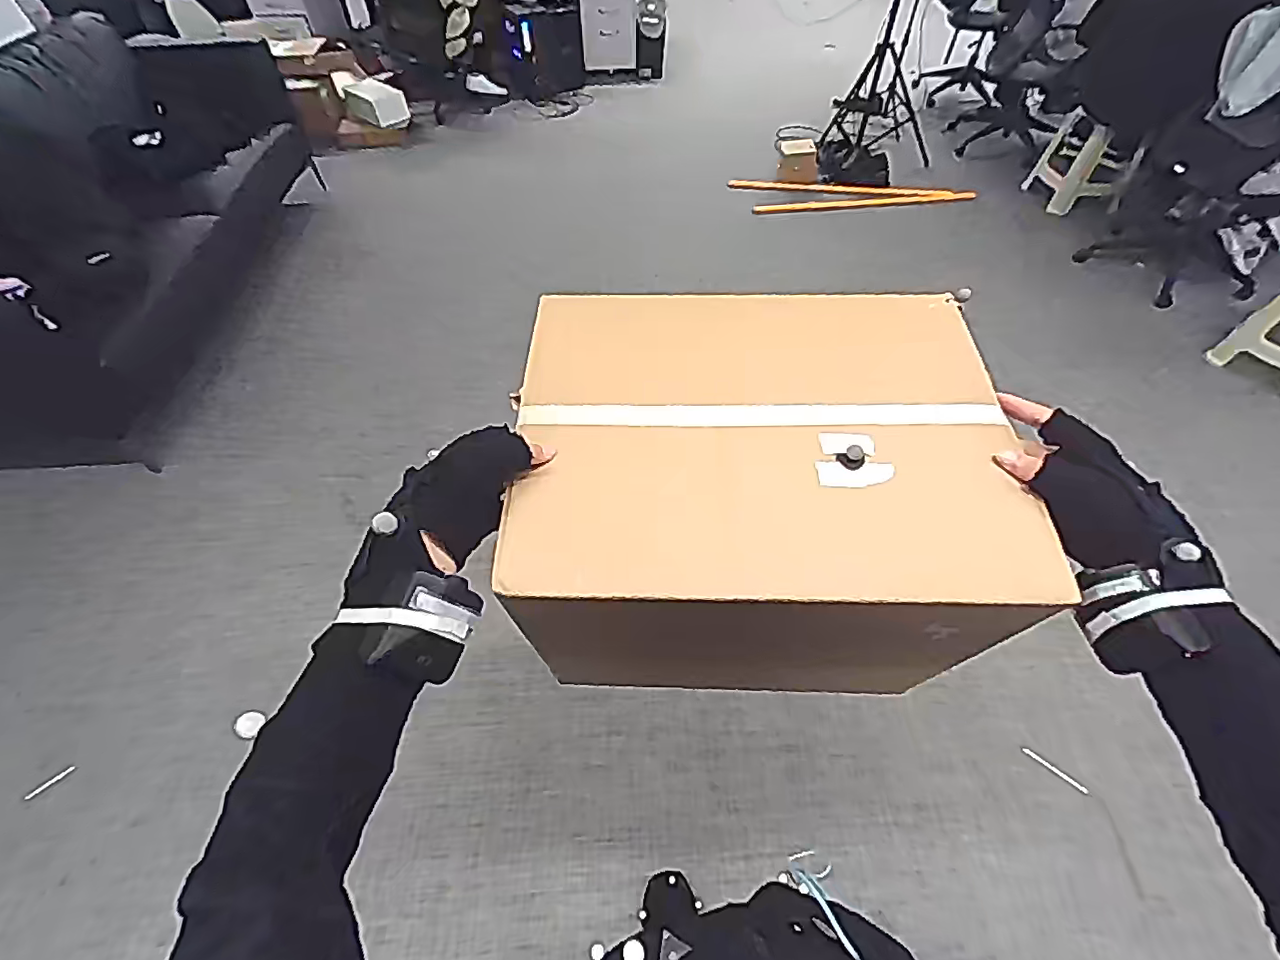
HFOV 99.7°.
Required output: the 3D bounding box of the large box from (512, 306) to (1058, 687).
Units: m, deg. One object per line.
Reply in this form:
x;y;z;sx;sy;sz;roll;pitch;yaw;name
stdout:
0.104;0.033;0.592;0.408;0.320;0.320;0;58;1;large box
